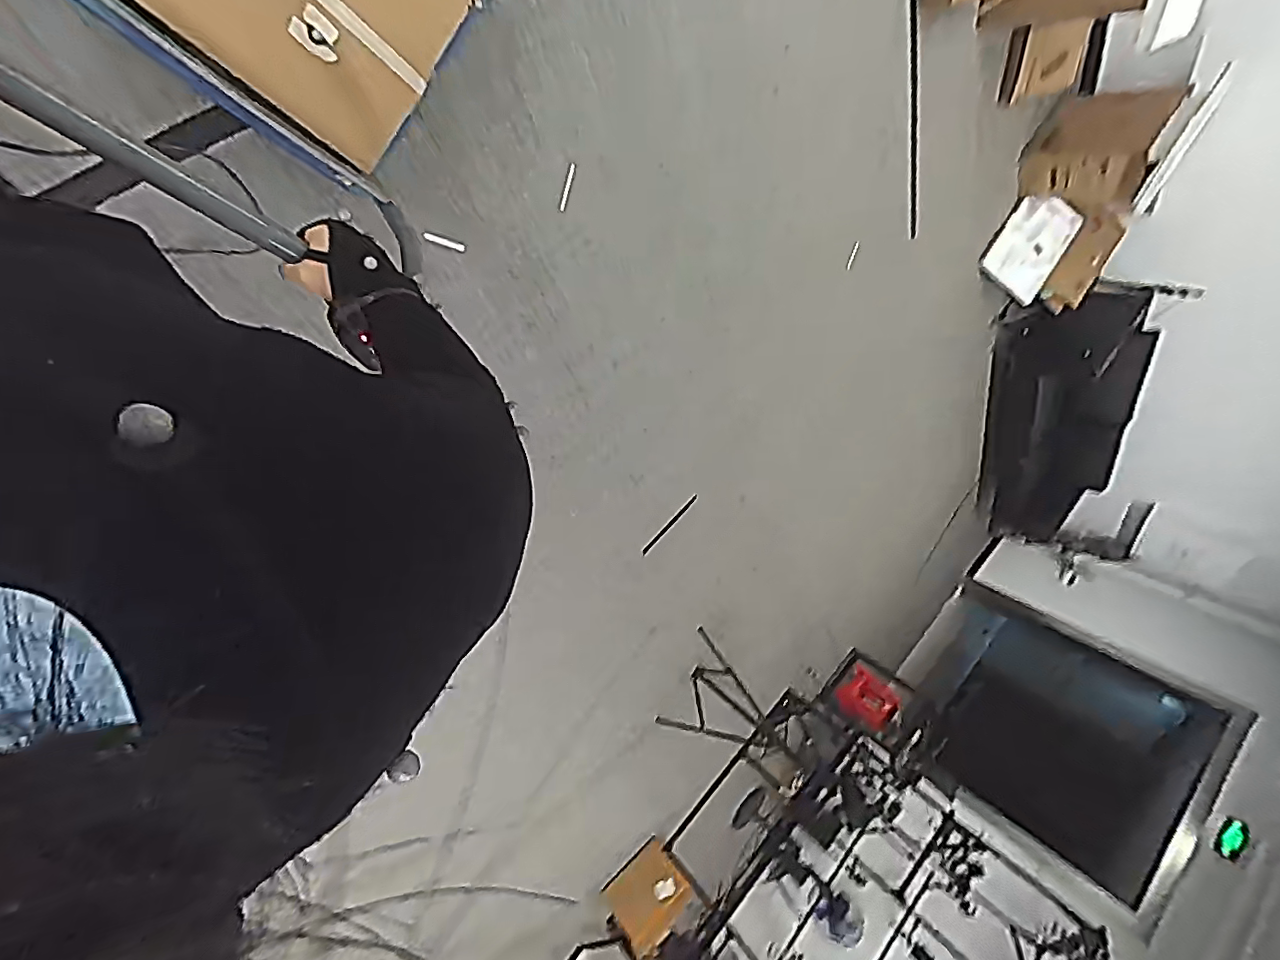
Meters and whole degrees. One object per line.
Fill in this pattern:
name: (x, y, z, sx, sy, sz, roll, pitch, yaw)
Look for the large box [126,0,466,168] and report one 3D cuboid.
large box: (-0.545, -0.754, 0.784, 0.320, 0.320, 0.408, -51, 140, 11)
